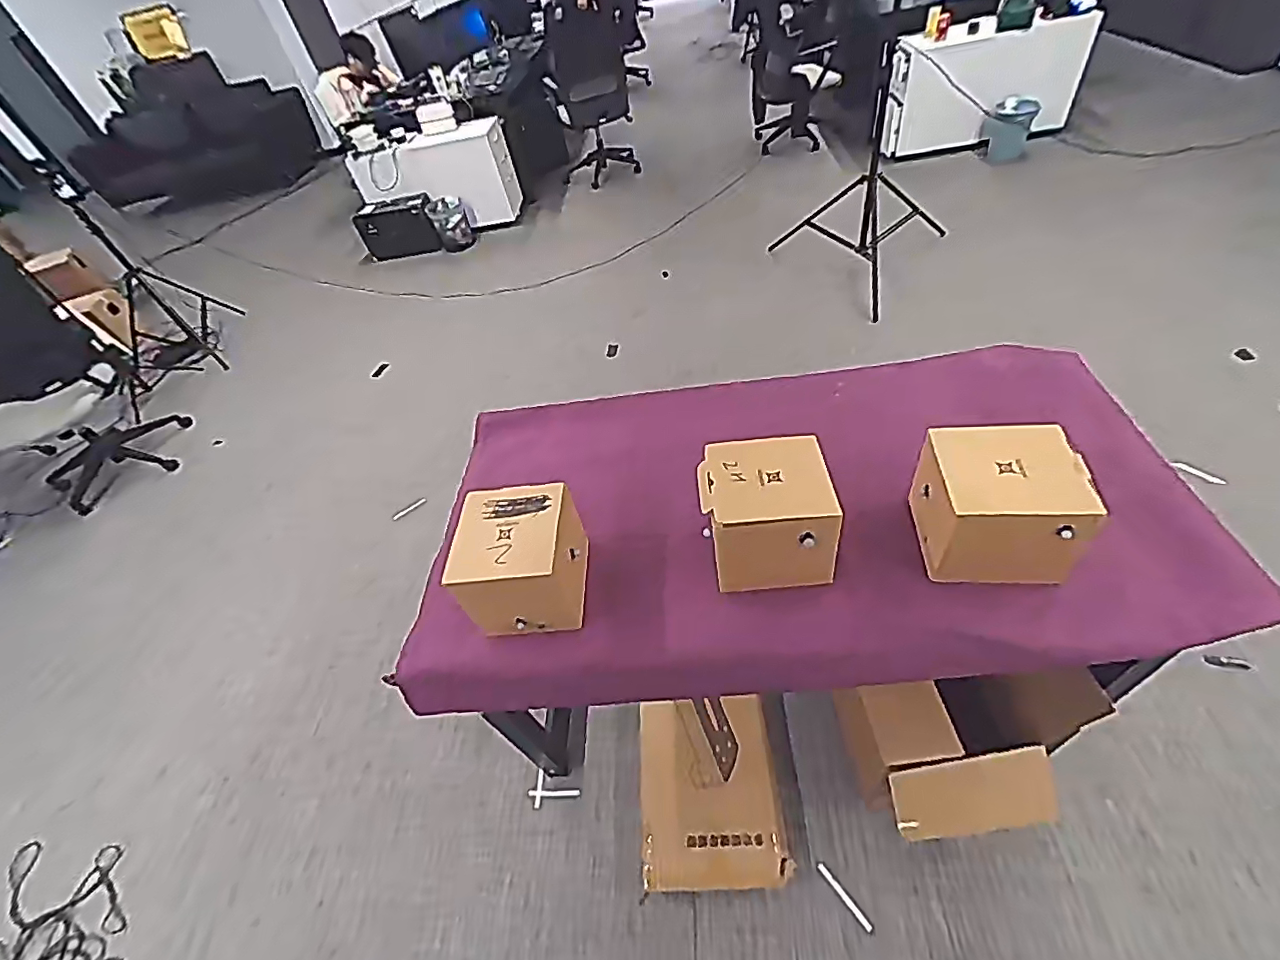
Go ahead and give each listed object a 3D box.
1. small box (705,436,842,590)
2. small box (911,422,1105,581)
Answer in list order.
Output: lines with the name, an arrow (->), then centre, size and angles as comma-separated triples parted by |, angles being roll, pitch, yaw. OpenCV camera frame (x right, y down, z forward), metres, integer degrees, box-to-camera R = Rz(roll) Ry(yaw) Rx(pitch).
small box -> 0.199, 0.054, 0.844 | 0.179, 0.176, 0.168 | -7, 45, 7
small box -> 0.512, 0.035, 0.791 | 0.179, 0.176, 0.168 | -1, 48, 12
